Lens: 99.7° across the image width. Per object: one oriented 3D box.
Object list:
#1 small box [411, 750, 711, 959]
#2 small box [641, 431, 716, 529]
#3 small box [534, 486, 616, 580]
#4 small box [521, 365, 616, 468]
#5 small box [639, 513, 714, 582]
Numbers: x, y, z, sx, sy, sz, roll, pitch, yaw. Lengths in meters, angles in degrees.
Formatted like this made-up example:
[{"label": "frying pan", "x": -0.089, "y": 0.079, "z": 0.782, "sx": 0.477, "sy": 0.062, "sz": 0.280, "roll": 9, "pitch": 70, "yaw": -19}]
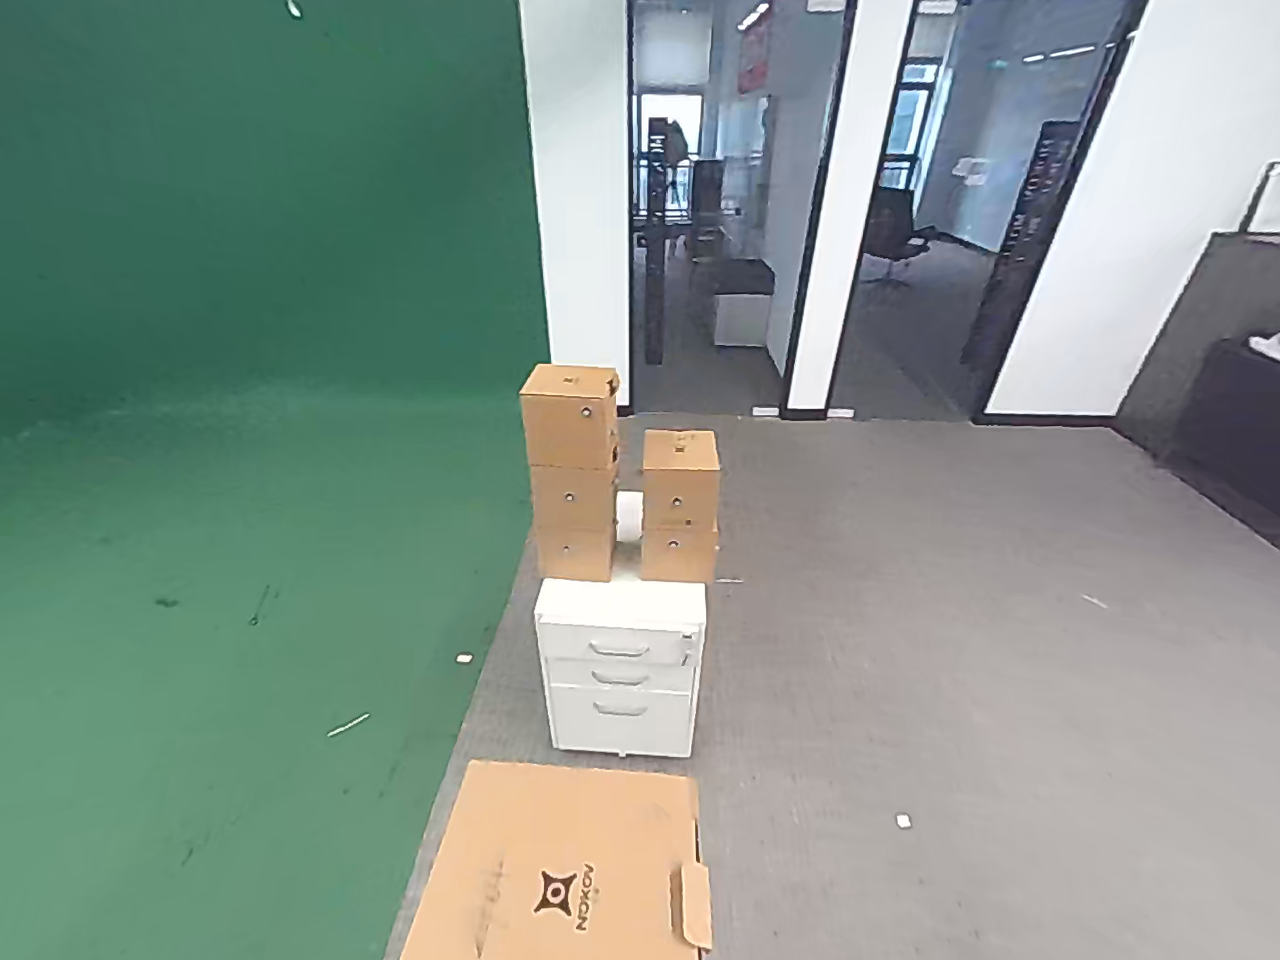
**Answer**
[{"label": "small box", "x": -0.045, "y": 0.328, "z": 0.390, "sx": 0.179, "sy": 0.176, "sz": 0.168, "roll": 2, "pitch": 29, "yaw": 3}, {"label": "small box", "x": 0.087, "y": 0.000, "z": 1.267, "sx": 0.168, "sy": 0.176, "sz": 0.179, "roll": 2, "pitch": 33, "yaw": 1}, {"label": "small box", "x": -0.156, "y": 0.133, "z": 1.354, "sx": 0.179, "sy": 0.176, "sz": 0.168, "roll": 4, "pitch": 34, "yaw": 3}, {"label": "small box", "x": -0.147, "y": -0.139, "z": 1.174, "sx": 0.179, "sy": 0.176, "sz": 0.168, "roll": 4, "pitch": 33, "yaw": 2}, {"label": "small box", "x": 0.091, "y": 0.139, "z": 1.354, "sx": 0.179, "sy": 0.176, "sz": 0.168, "roll": 3, "pitch": 34, "yaw": 3}]
